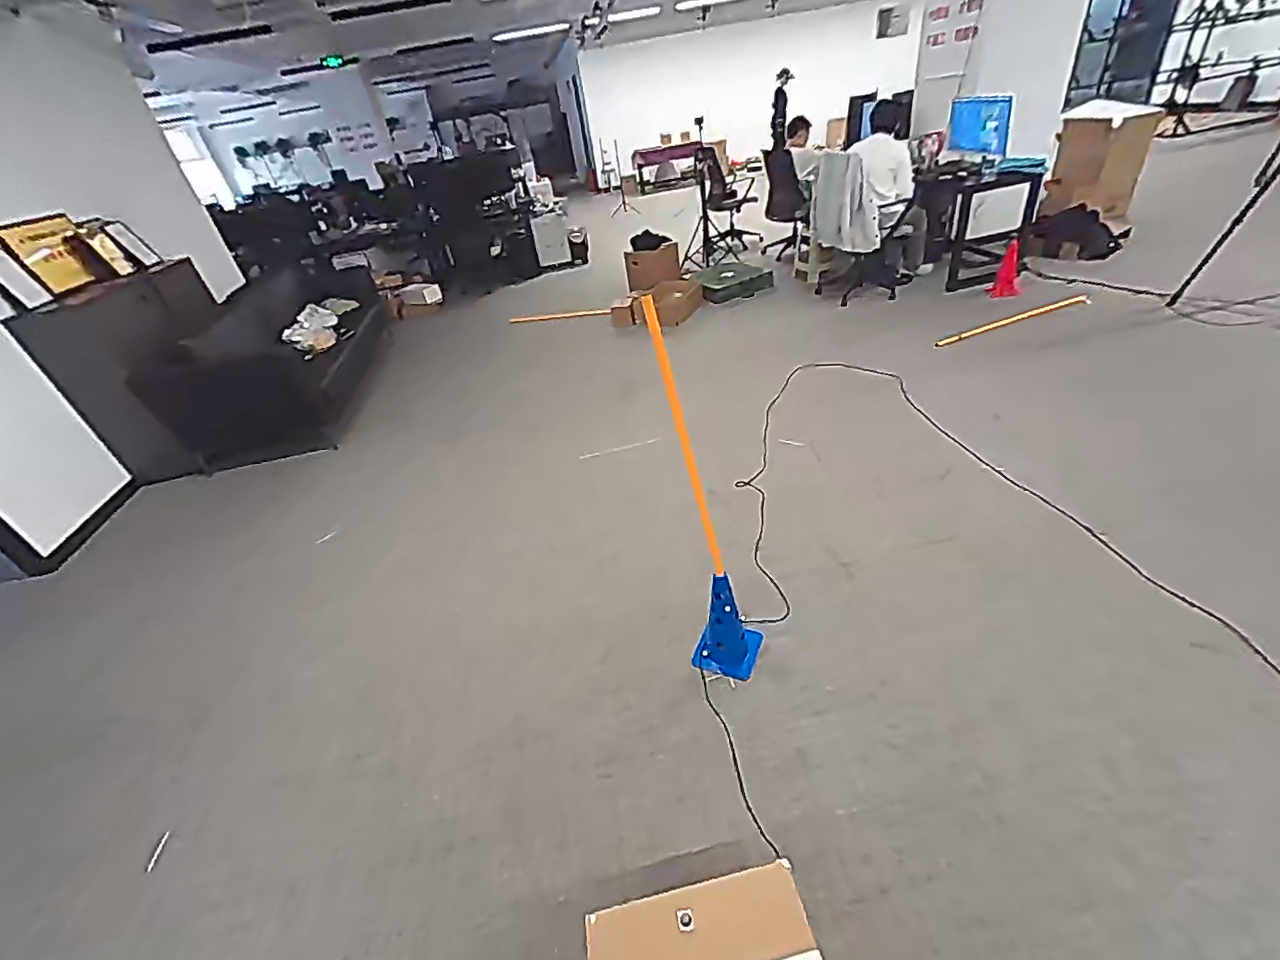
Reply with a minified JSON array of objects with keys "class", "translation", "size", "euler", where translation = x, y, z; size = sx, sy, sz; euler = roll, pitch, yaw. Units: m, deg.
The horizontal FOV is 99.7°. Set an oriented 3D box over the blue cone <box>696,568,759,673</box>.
[{"class":"blue cone","translation":[0.268,0.424,1.716],"size":[0.192,0.380,0.193],"euler":[6,39,24]}]
